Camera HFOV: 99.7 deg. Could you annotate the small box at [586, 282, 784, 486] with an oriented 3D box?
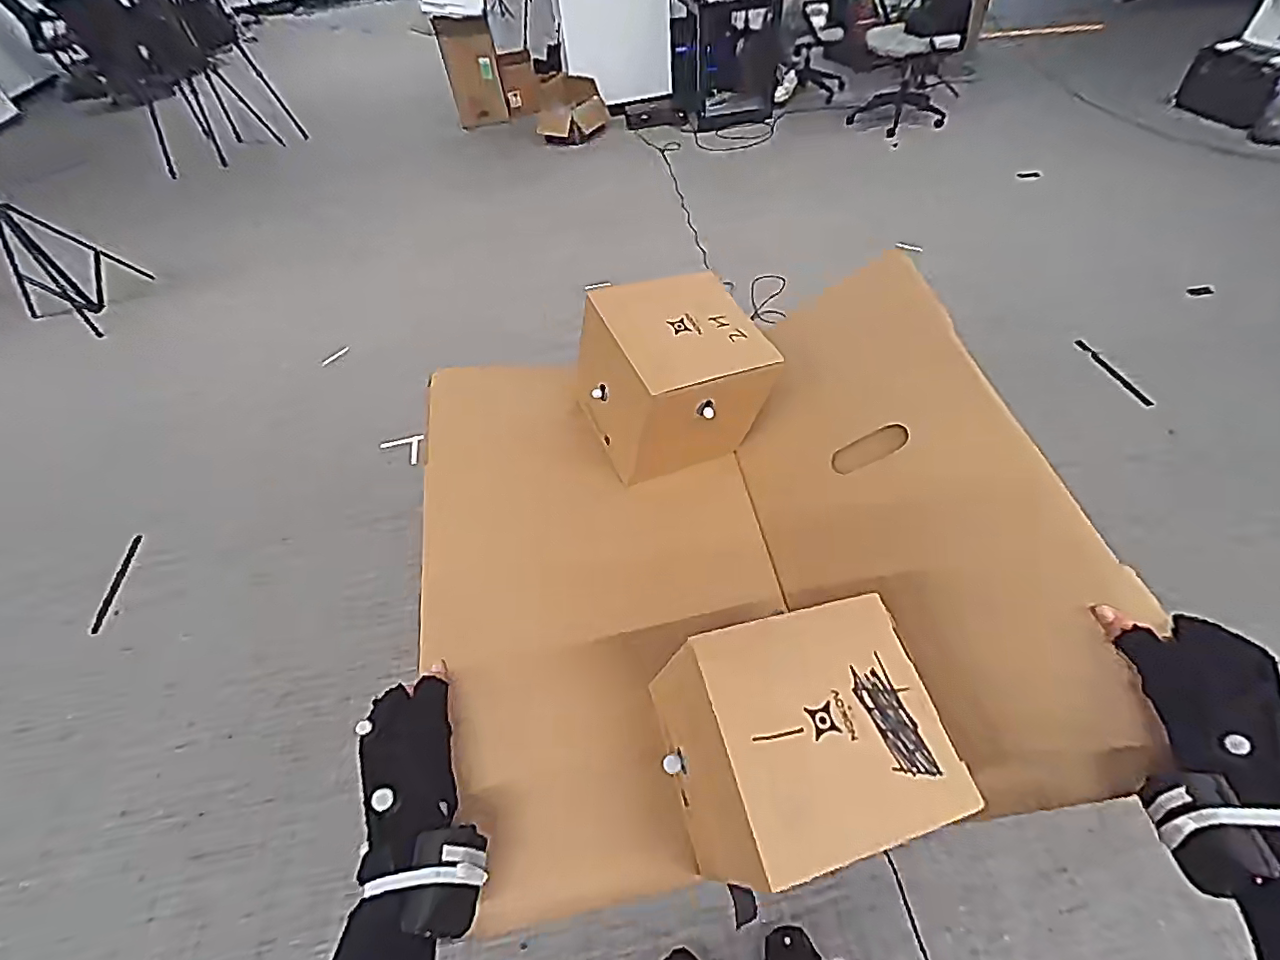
[{"bbox_3d":[0.040,-0.115,0.673,0.179,0.176,0.168,-17,62,-23],"label":"small box"}]
